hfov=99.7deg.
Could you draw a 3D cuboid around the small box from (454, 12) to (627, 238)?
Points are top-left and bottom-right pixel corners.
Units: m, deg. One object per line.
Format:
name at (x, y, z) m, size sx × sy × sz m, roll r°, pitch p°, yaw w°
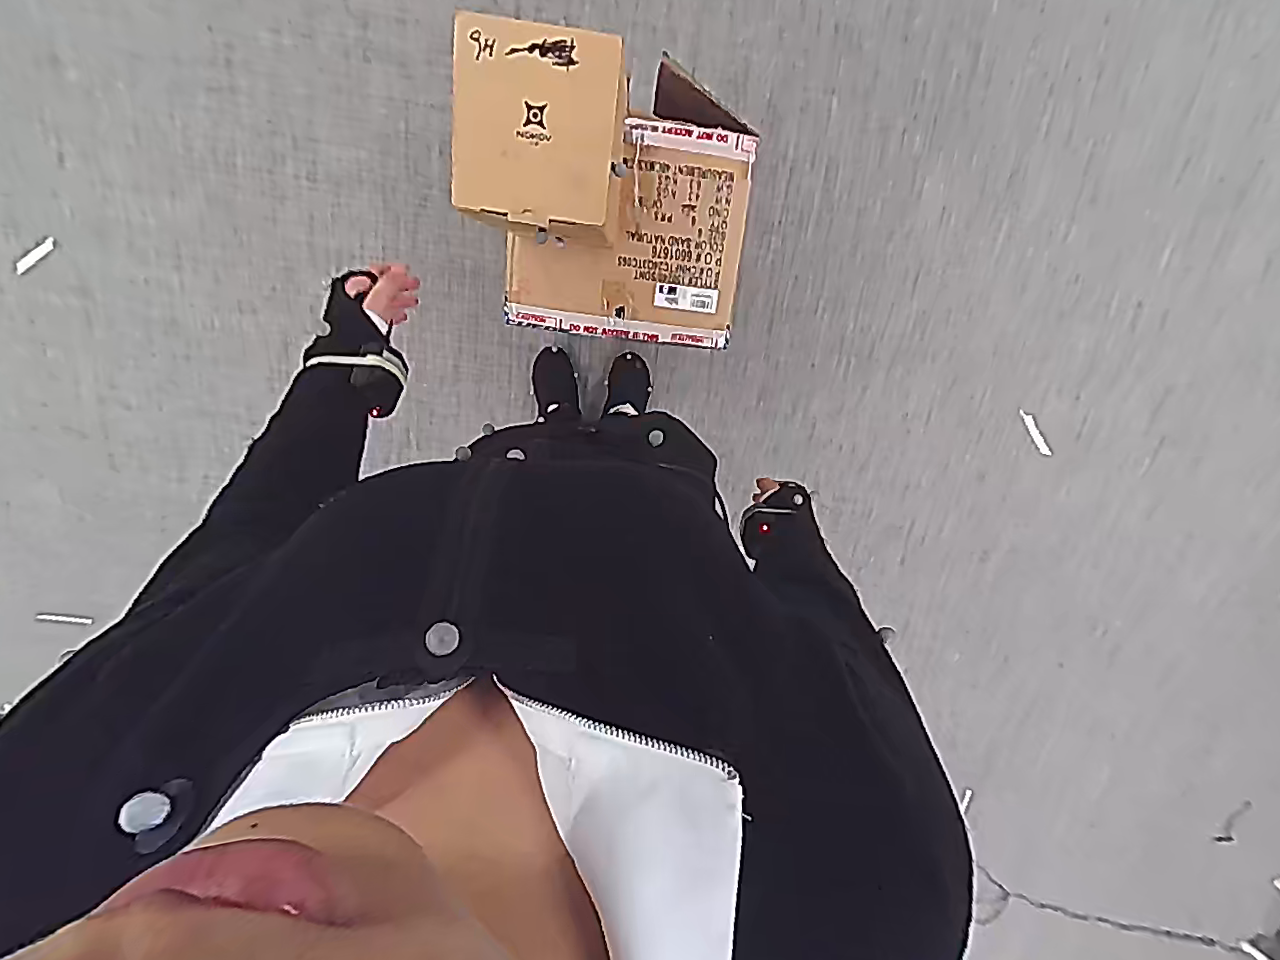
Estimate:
small box at (-0.106, -0.389, 0.628) m, size 0.168 × 0.176 × 0.179 m, roll 7°, pitch 109°, yaw -2°
